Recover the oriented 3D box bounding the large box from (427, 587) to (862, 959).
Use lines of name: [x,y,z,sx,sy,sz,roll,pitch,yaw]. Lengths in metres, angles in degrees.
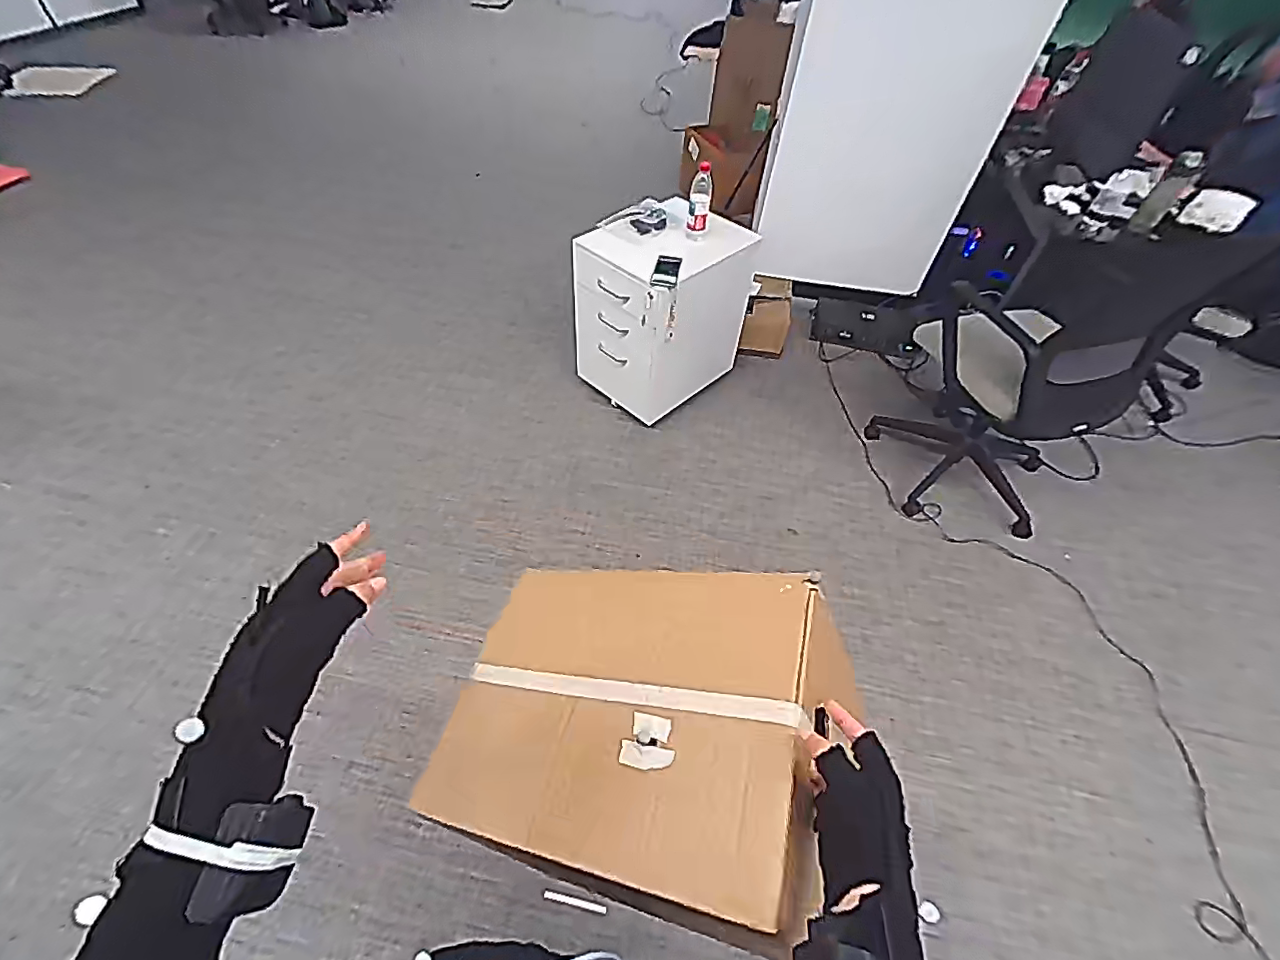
large box: [0.036,0.351,0.683,0.408,0.320,0.320,-6,44,31]
